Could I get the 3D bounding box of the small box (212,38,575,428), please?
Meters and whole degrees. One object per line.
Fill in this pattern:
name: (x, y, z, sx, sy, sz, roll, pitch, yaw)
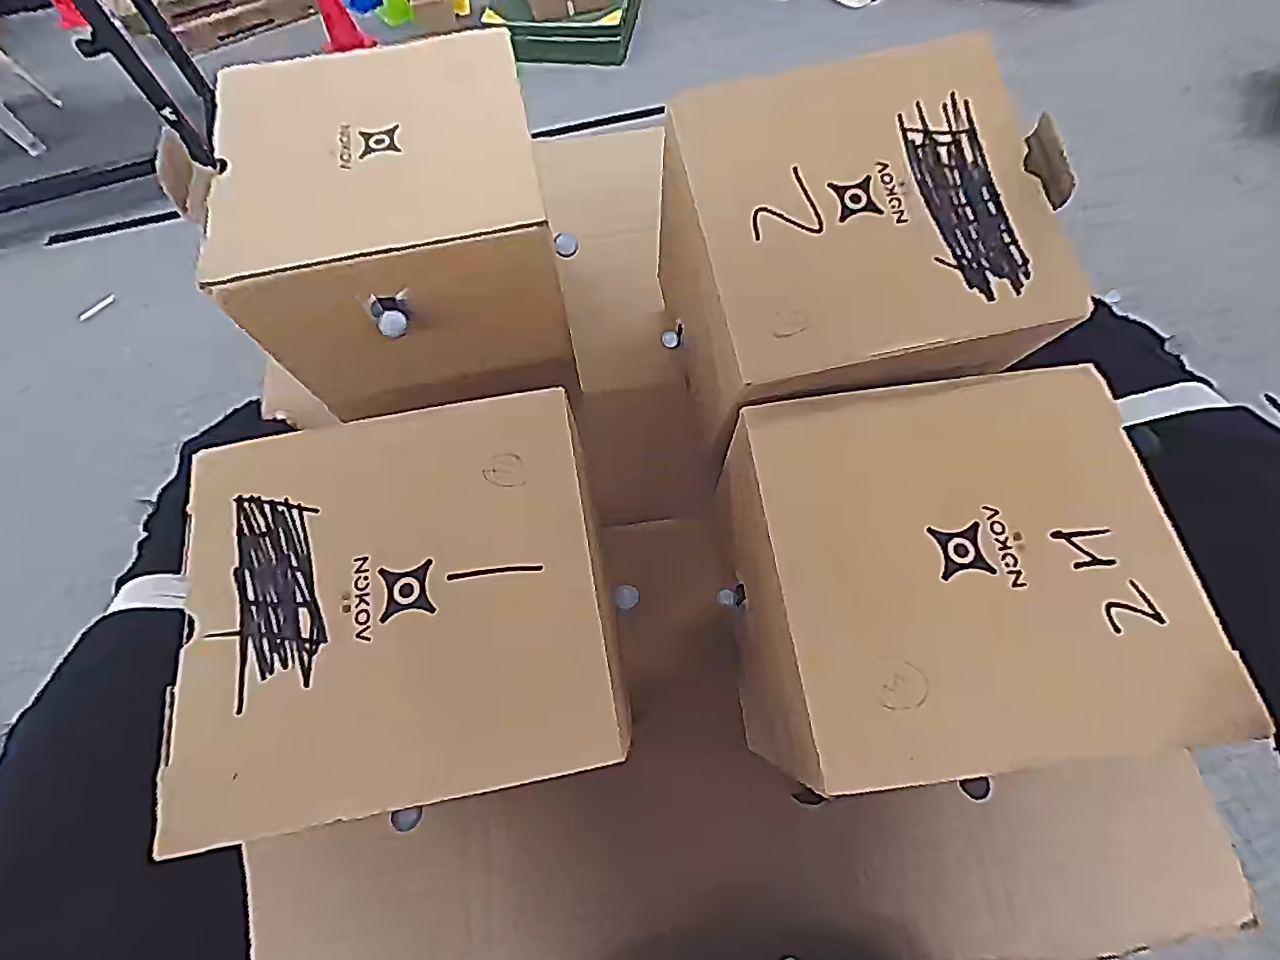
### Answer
small box: (-0.147, -0.157, 0.382, 0.179, 0.176, 0.168, -13, 68, -3)
